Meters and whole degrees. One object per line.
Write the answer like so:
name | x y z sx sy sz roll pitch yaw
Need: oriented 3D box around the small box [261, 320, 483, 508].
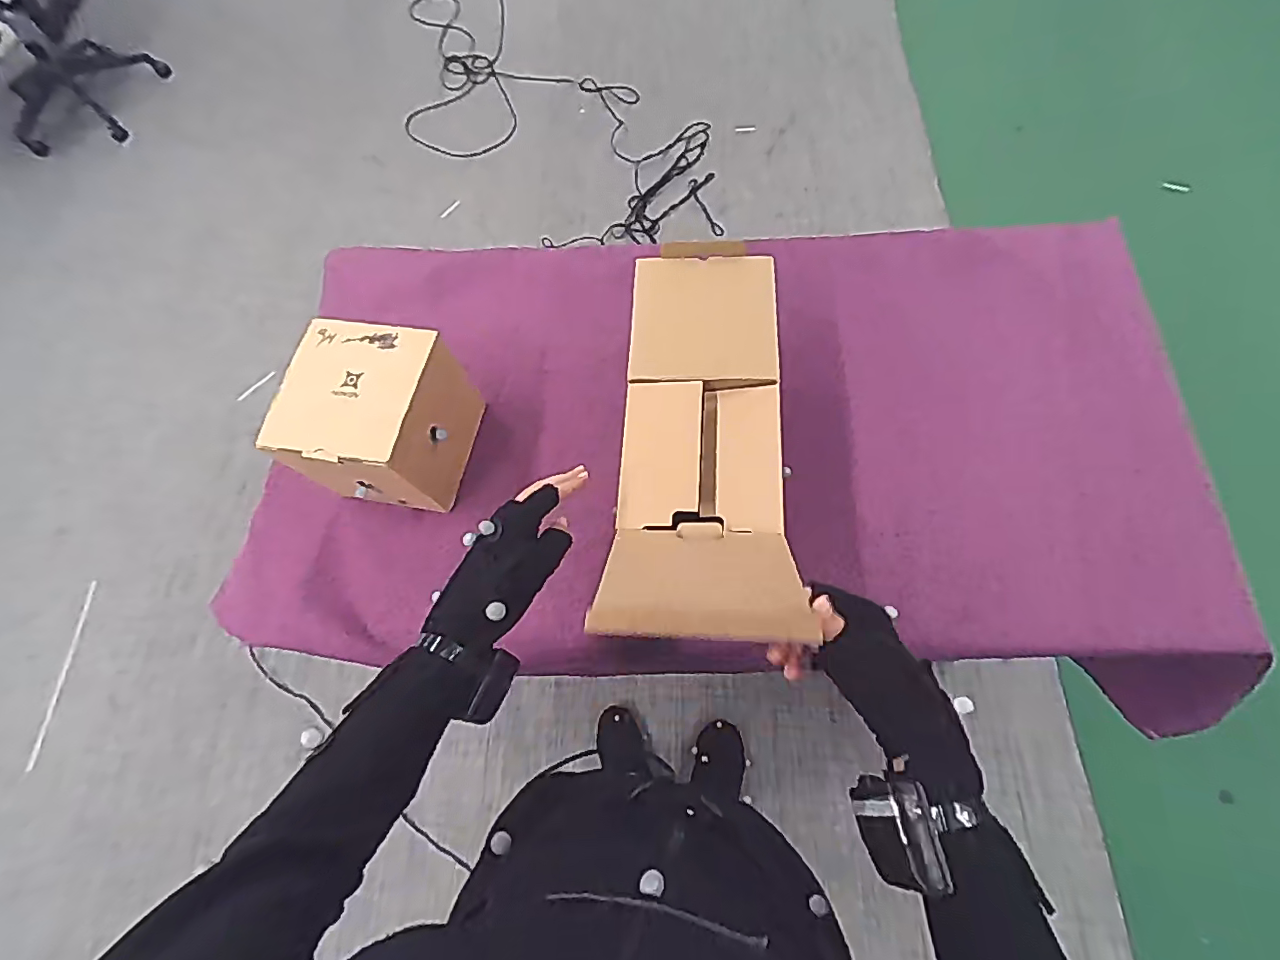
small box | -0.321 -0.075 0.691 0.168 0.176 0.179 8 70 8

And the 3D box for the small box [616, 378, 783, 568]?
small box | 0.070 0.001 0.626 0.168 0.176 0.179 2 69 6
